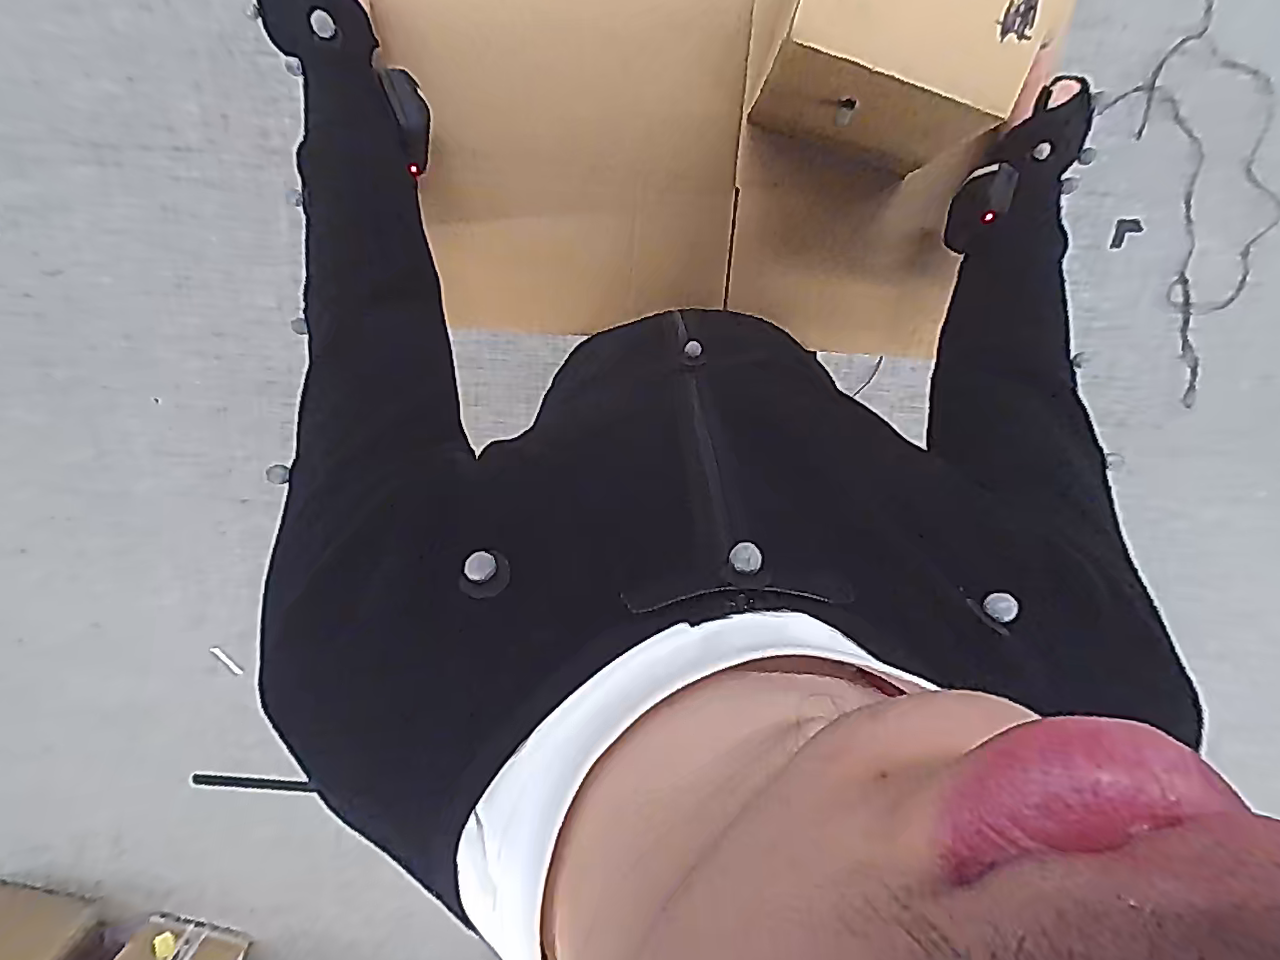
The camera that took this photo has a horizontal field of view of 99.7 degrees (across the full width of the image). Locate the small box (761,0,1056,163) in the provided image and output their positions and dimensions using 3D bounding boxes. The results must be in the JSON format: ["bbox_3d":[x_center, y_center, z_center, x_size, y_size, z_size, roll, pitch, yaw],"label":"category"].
[{"bbox_3d":[0.216,-0.392,0.449,0.179,0.176,0.168,17,107,-3],"label":"small box"}]
